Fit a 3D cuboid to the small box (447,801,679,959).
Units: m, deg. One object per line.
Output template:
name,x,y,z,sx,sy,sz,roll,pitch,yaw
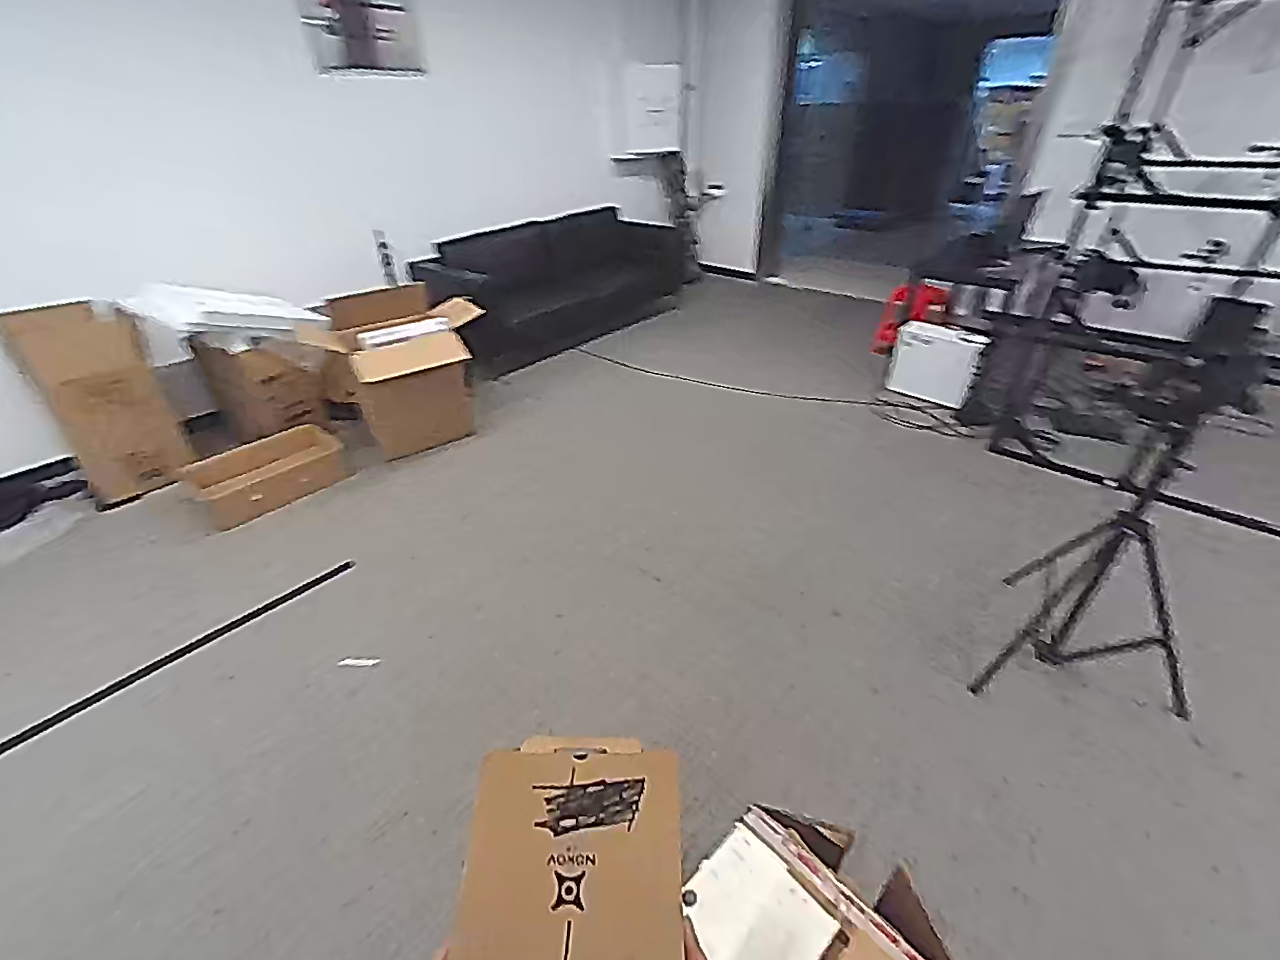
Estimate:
small box,-0.056,0.383,0.447,0.168,0.176,0.179,0,49,0
